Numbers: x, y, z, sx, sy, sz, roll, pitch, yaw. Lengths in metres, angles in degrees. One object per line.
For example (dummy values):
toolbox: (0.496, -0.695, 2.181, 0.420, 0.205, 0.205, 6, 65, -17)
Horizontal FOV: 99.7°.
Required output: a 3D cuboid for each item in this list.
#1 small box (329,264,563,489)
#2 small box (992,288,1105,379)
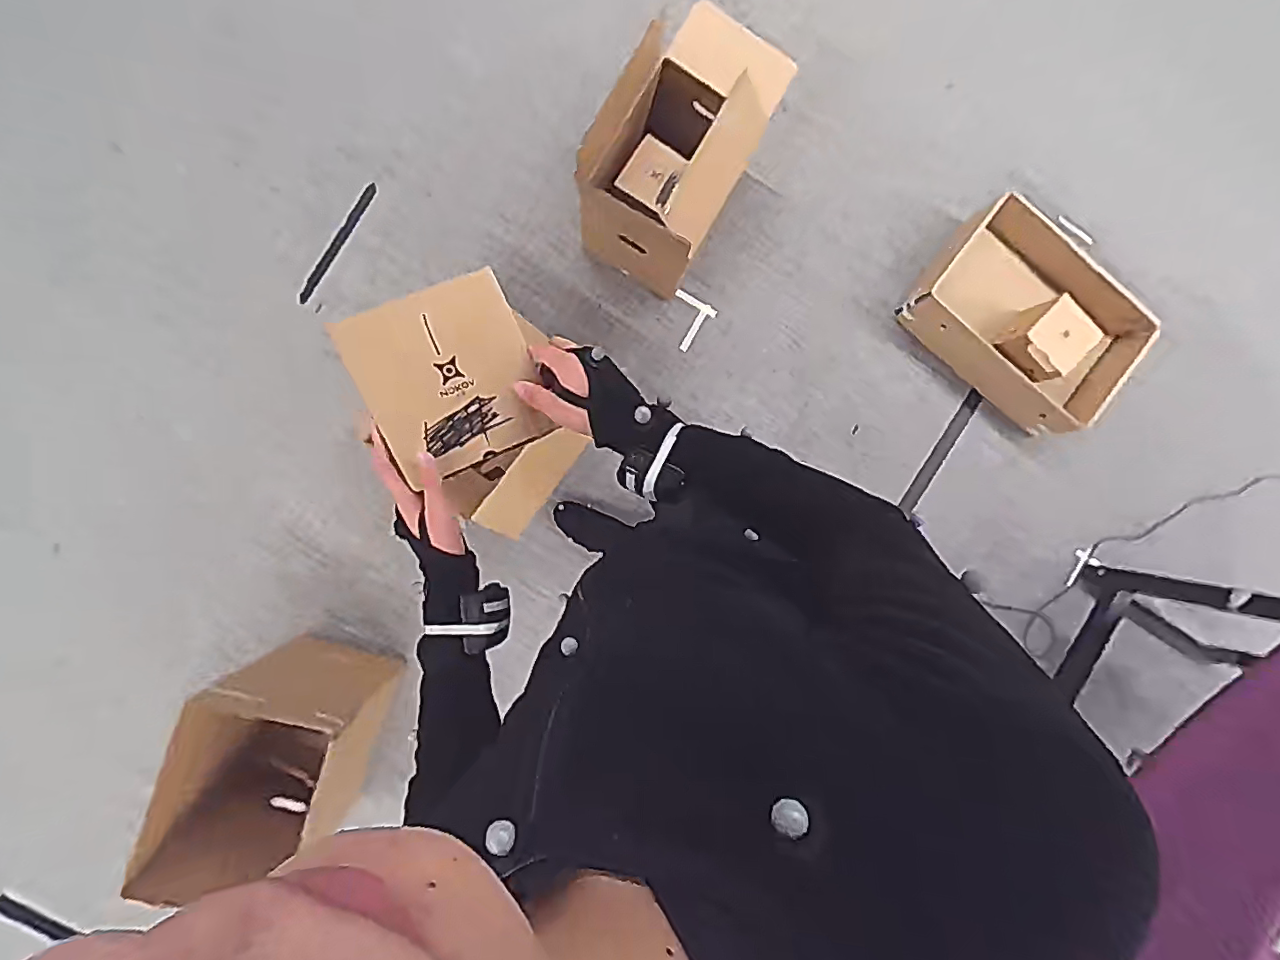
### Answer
small box: (-0.202, -0.108, 0.601, 0.168, 0.176, 0.179, -26, 101, -13)
small box: (1.178, -0.419, 1.580, 0.179, 0.176, 0.168, -44, 94, -3)
